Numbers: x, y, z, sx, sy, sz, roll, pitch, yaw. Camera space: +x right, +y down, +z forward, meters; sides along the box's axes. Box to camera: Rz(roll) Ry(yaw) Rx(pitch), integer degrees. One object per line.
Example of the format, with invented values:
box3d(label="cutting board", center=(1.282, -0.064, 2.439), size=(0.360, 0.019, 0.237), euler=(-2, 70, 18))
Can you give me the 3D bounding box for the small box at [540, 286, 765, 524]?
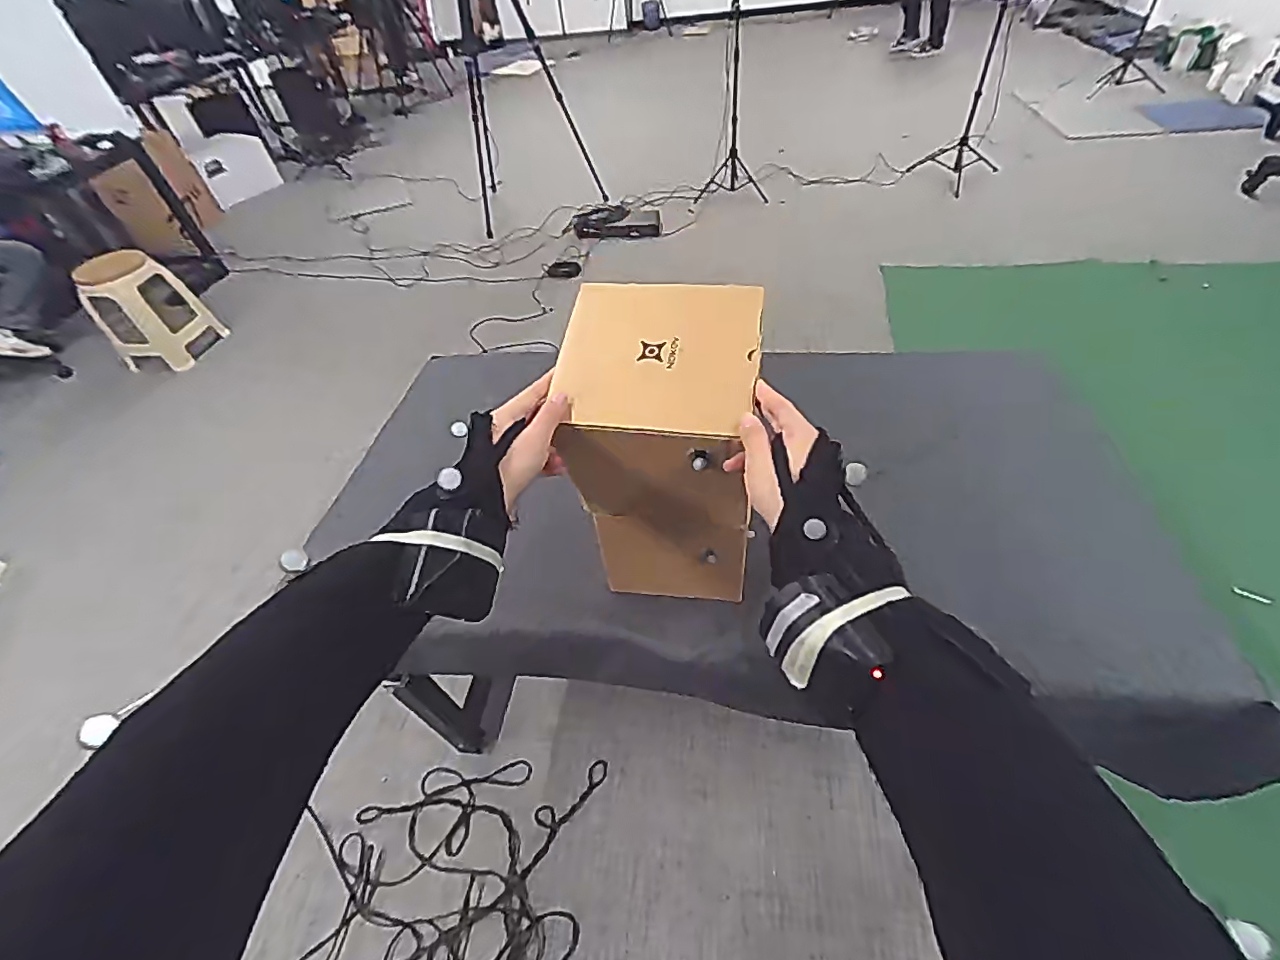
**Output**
box3d(label="small box", center=(0.025, -0.068, 0.534), size=(0.179, 0.176, 0.168), euler=(5, 61, 10))
